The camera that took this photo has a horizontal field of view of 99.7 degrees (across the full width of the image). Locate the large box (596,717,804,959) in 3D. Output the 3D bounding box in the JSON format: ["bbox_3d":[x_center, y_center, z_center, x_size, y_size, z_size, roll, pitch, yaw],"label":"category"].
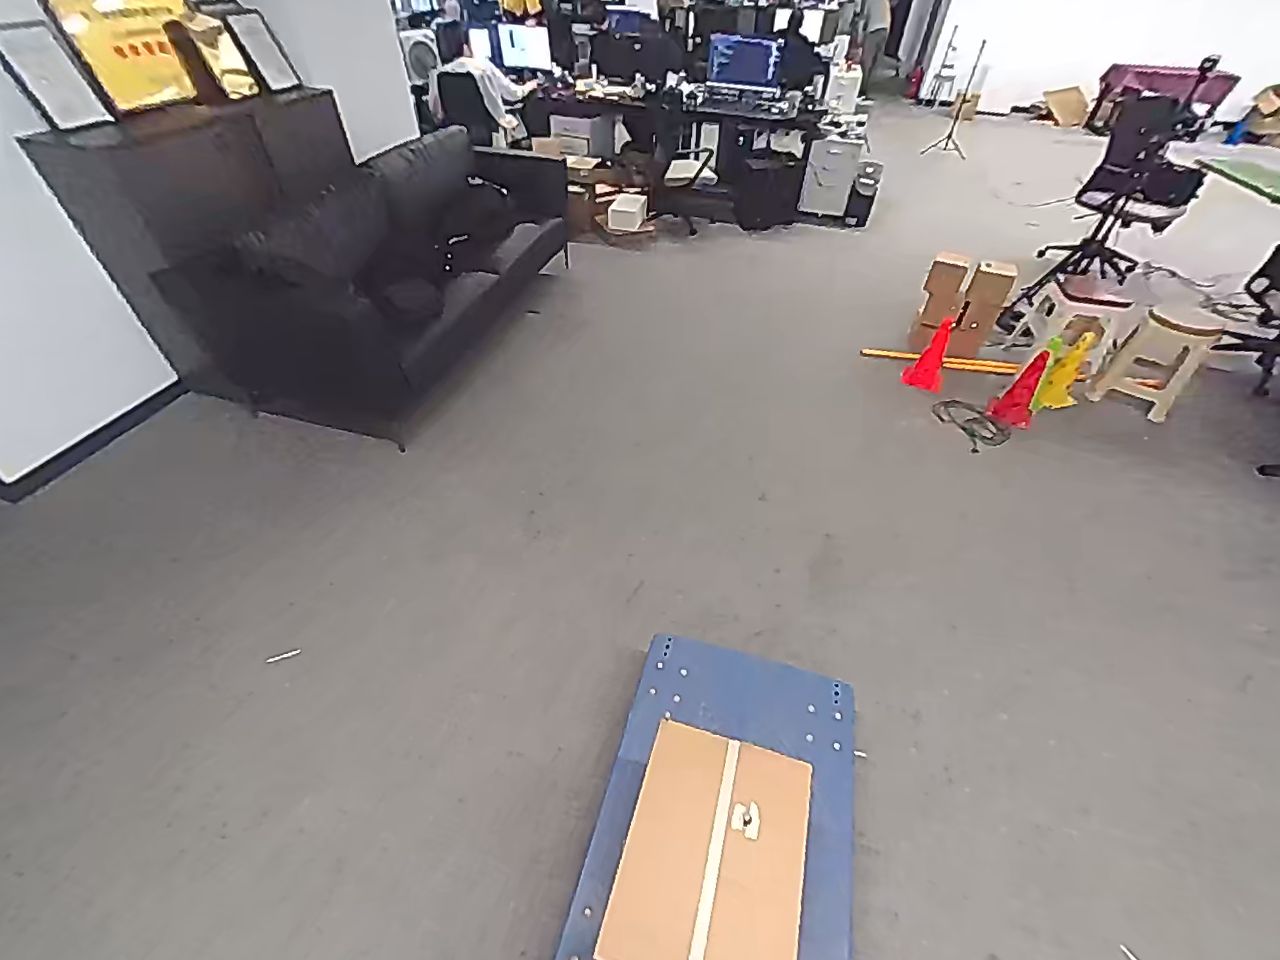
[{"bbox_3d":[0.126,0.768,1.072,0.320,0.320,0.408,13,44,11],"label":"large box"}]
